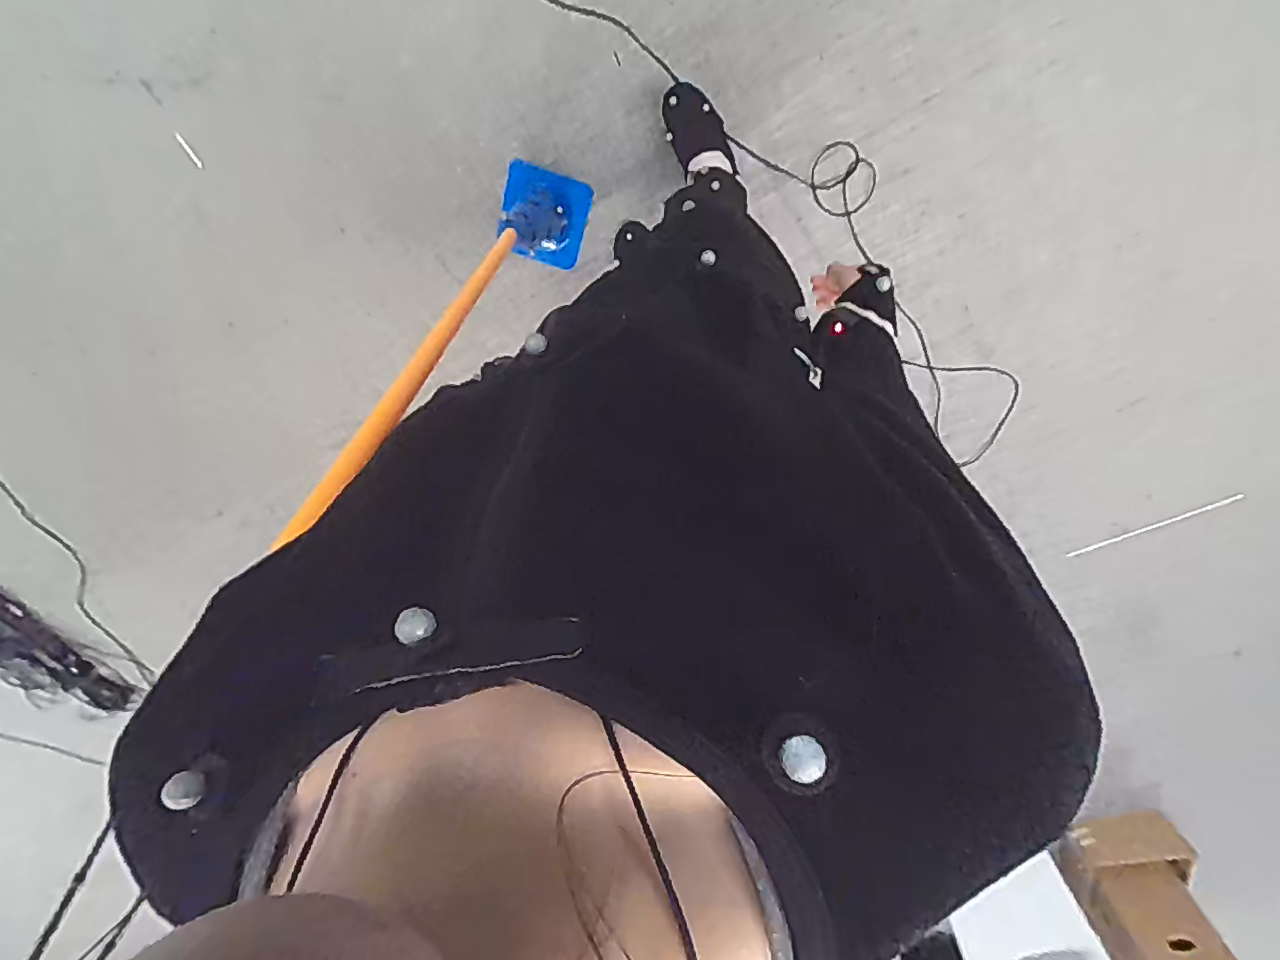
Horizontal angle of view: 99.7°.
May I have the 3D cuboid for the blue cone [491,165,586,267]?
[{"bbox_3d":[-0.234,-0.523,1.124,0.192,0.380,0.193,15,122,-8],"label":"blue cone"}]
